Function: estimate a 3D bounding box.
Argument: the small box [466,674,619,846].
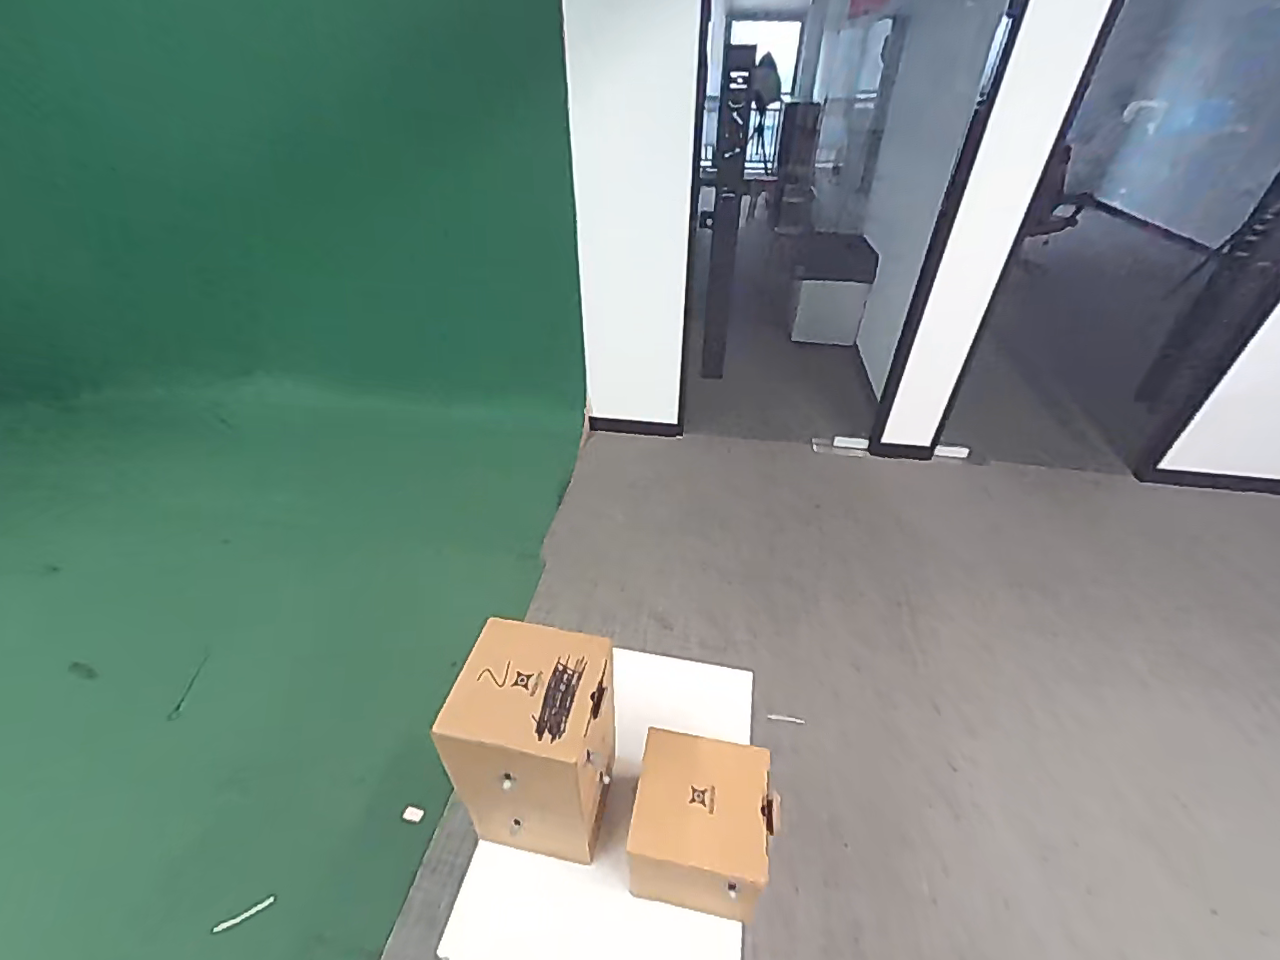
[{"bbox_3d":[-0.134,0.424,0.820,0.179,0.176,0.168,7,40,8],"label":"small box"}]
